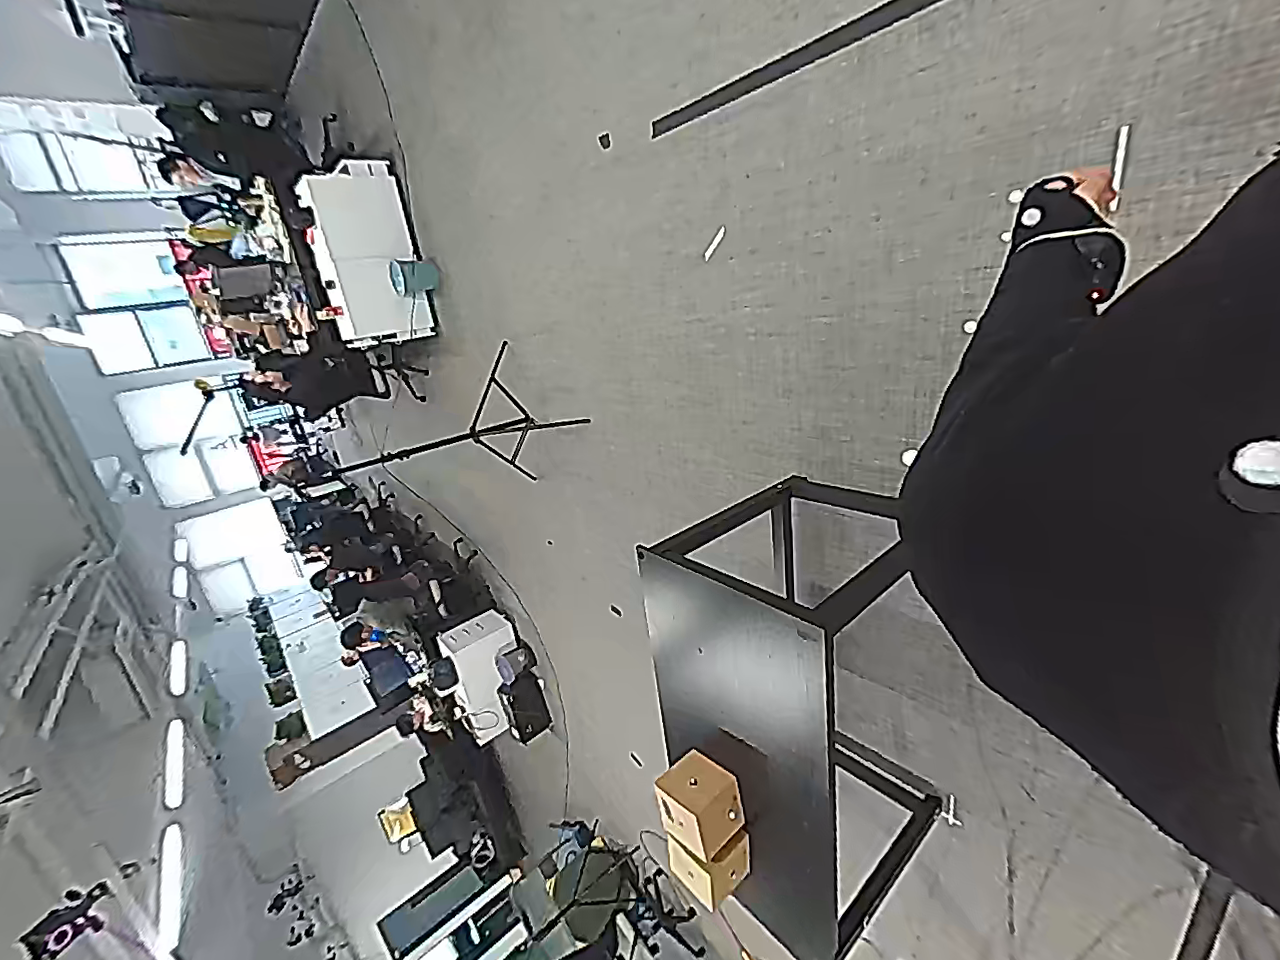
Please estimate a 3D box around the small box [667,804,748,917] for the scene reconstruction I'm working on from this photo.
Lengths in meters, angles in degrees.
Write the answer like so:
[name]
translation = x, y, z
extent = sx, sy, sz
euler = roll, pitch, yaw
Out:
[small box]
translation = 0.202, 1.107, 1.589
extent = 0.179, 0.176, 0.168
euler = 20, 122, 48
